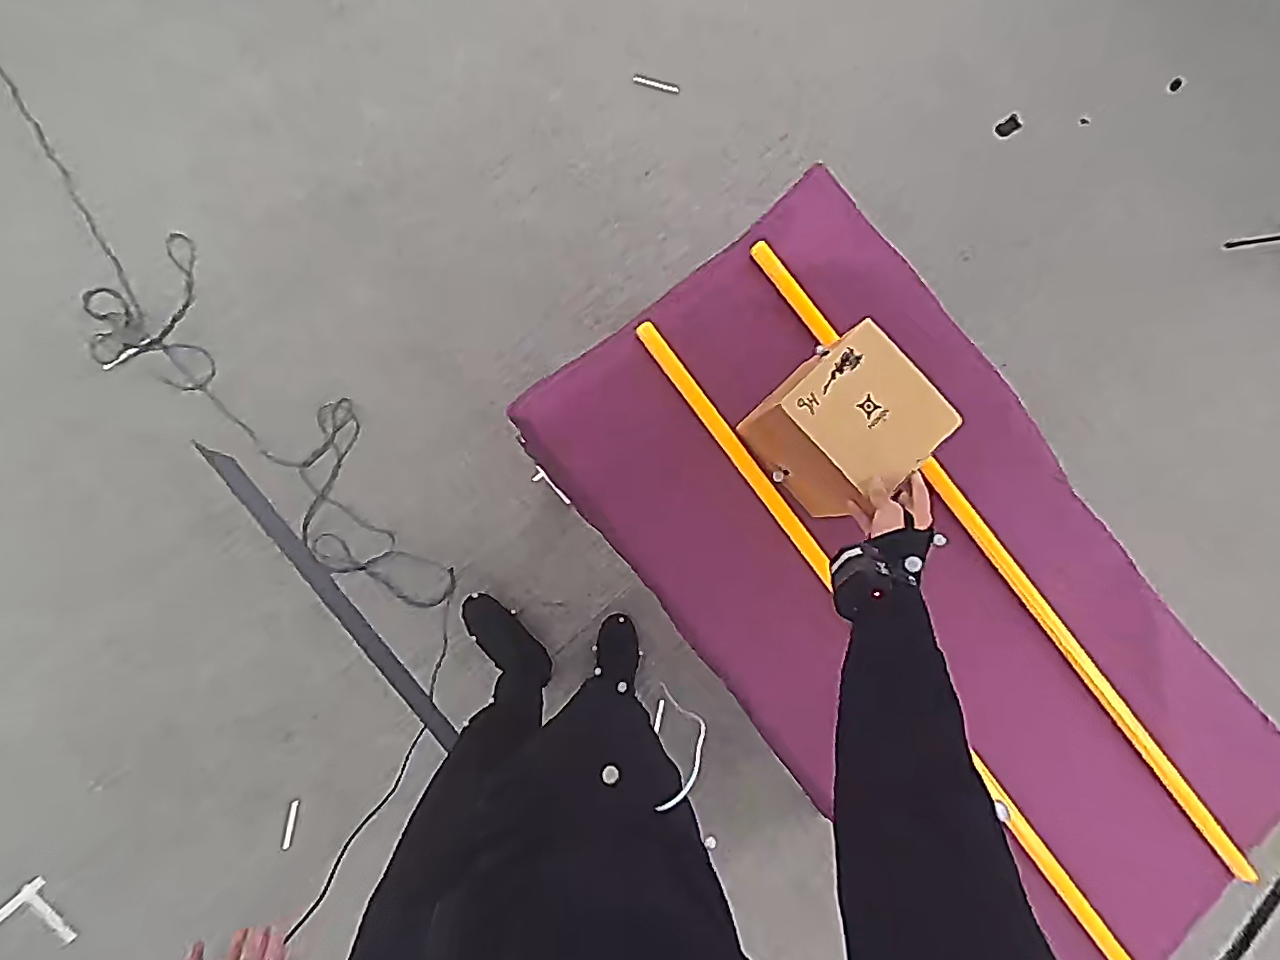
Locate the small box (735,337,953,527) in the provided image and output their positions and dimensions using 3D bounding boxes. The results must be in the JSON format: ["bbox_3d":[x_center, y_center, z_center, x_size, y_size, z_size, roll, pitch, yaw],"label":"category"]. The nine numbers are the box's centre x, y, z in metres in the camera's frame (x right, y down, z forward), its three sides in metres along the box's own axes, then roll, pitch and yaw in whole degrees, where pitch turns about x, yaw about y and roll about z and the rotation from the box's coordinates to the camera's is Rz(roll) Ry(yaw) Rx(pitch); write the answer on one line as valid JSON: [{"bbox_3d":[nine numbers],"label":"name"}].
[{"bbox_3d":[0.261,-0.055,0.729,0.168,0.176,0.179,-42,91,-10],"label":"small box"}]
